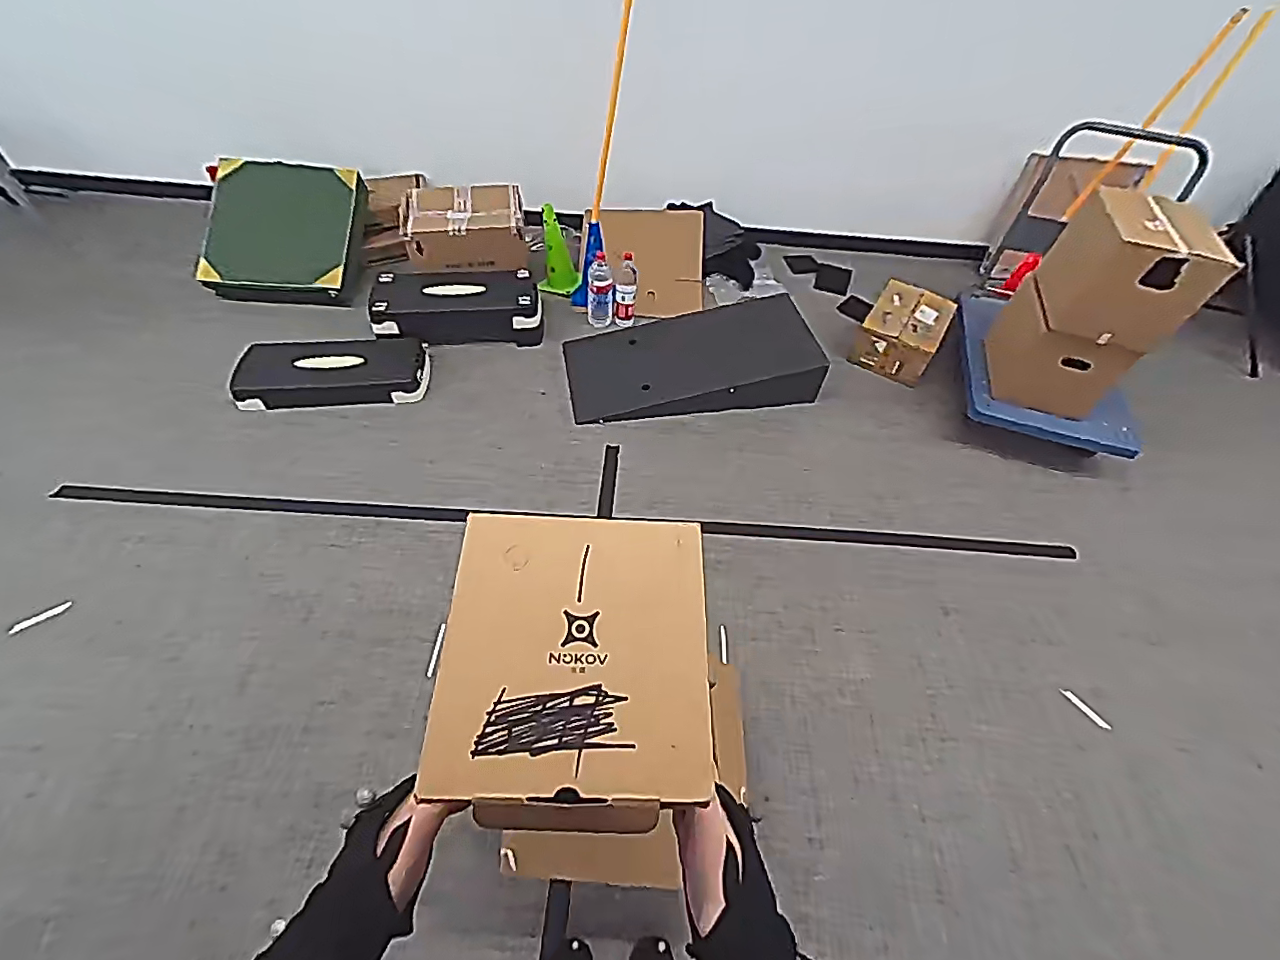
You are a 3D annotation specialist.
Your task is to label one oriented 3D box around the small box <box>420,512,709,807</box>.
[{"bbox_3d":[-0.044,0.142,0.410,0.168,0.176,0.179,3,59,-3],"label":"small box"}]
